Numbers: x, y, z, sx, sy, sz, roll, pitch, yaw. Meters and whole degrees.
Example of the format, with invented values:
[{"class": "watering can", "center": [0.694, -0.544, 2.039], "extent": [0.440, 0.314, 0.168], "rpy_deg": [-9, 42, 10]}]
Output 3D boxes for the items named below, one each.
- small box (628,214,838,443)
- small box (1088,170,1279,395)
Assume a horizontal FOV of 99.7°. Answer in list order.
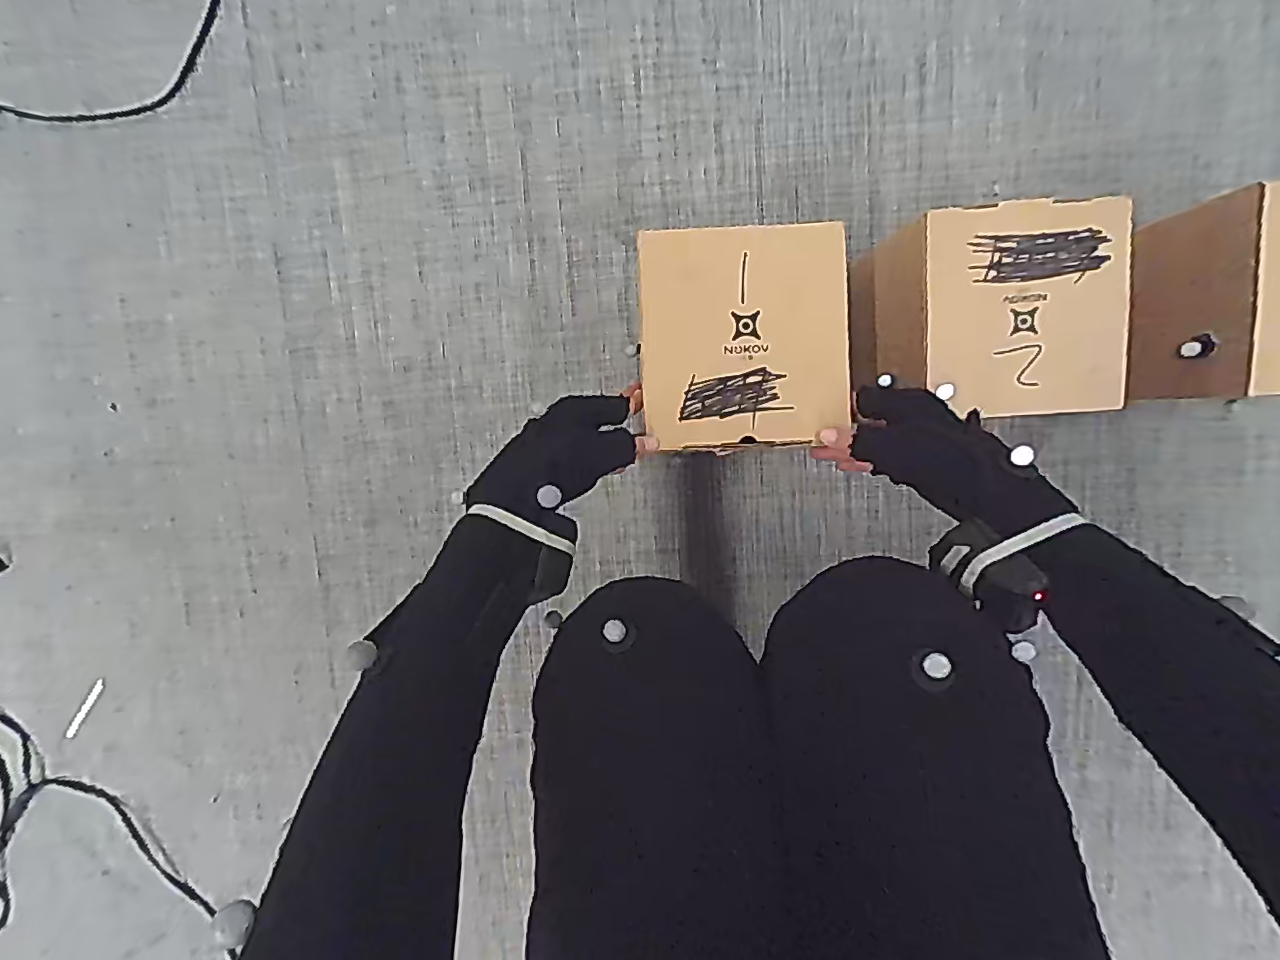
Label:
[{"class": "small box", "center": [0.074, -0.124, 0.506], "extent": [0.168, 0.176, 0.179], "rpy_deg": [-2, 92, -1]}, {"class": "small box", "center": [0.574, -0.173, 0.516], "extent": [0.168, 0.176, 0.179], "rpy_deg": [-3, 96, 2]}]
